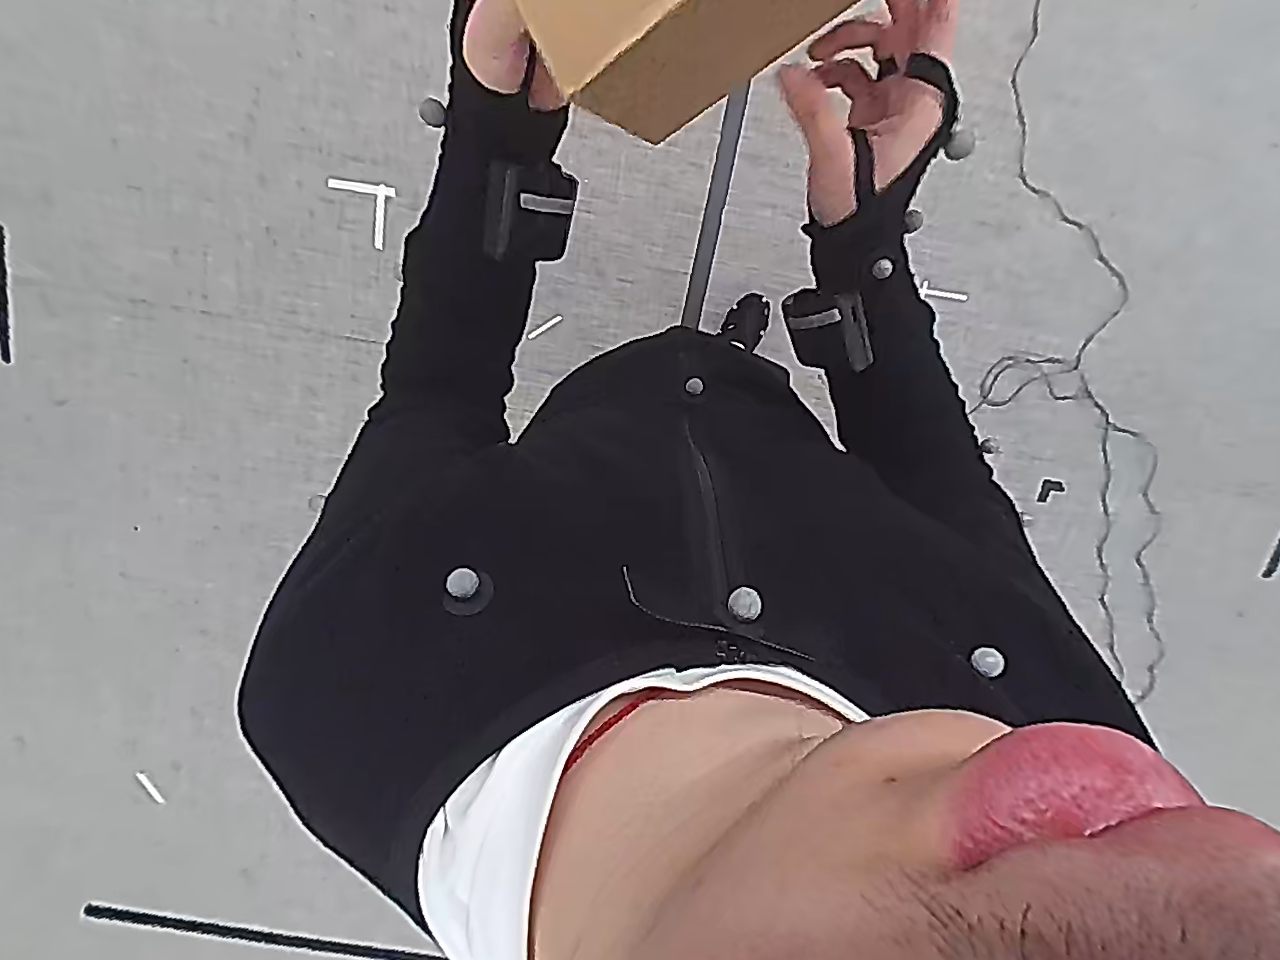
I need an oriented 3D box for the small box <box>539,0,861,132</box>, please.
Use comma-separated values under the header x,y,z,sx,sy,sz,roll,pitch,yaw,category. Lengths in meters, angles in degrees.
x,y,z,sx,sy,sz,roll,pitch,yaw,category
0.029,-0.270,0.204,0.179,0.176,0.168,-24,108,22,small box
